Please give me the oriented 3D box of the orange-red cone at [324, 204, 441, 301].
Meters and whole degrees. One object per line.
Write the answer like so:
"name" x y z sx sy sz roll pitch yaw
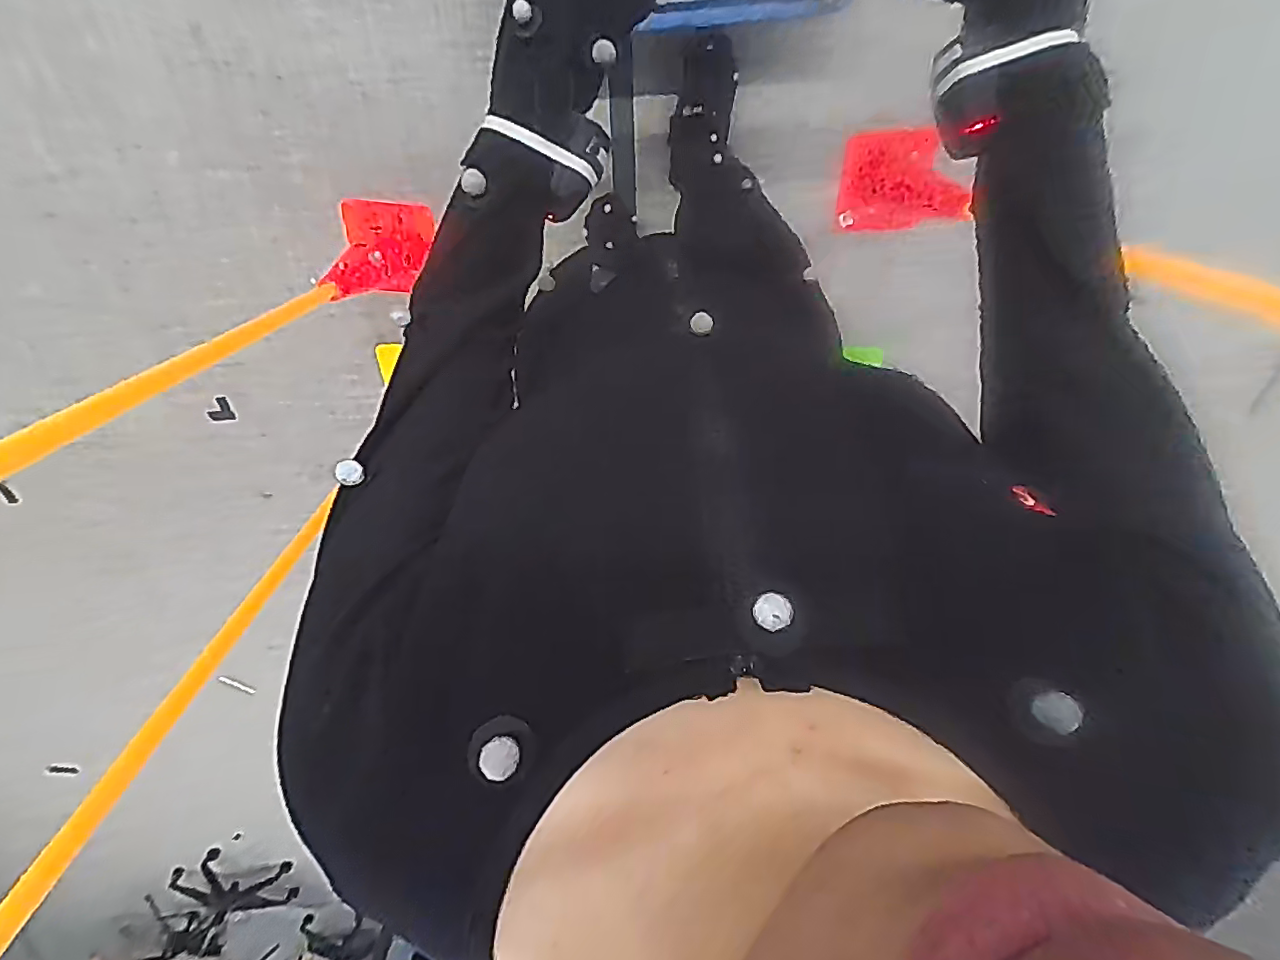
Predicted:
"orange-red cone" -0.561 -0.438 1.119 0.198 0.360 0.199 2 122 -5

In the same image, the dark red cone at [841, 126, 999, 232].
"dark red cone" 0.564 -0.569 1.062 0.201 0.394 0.202 -5 125 -2
